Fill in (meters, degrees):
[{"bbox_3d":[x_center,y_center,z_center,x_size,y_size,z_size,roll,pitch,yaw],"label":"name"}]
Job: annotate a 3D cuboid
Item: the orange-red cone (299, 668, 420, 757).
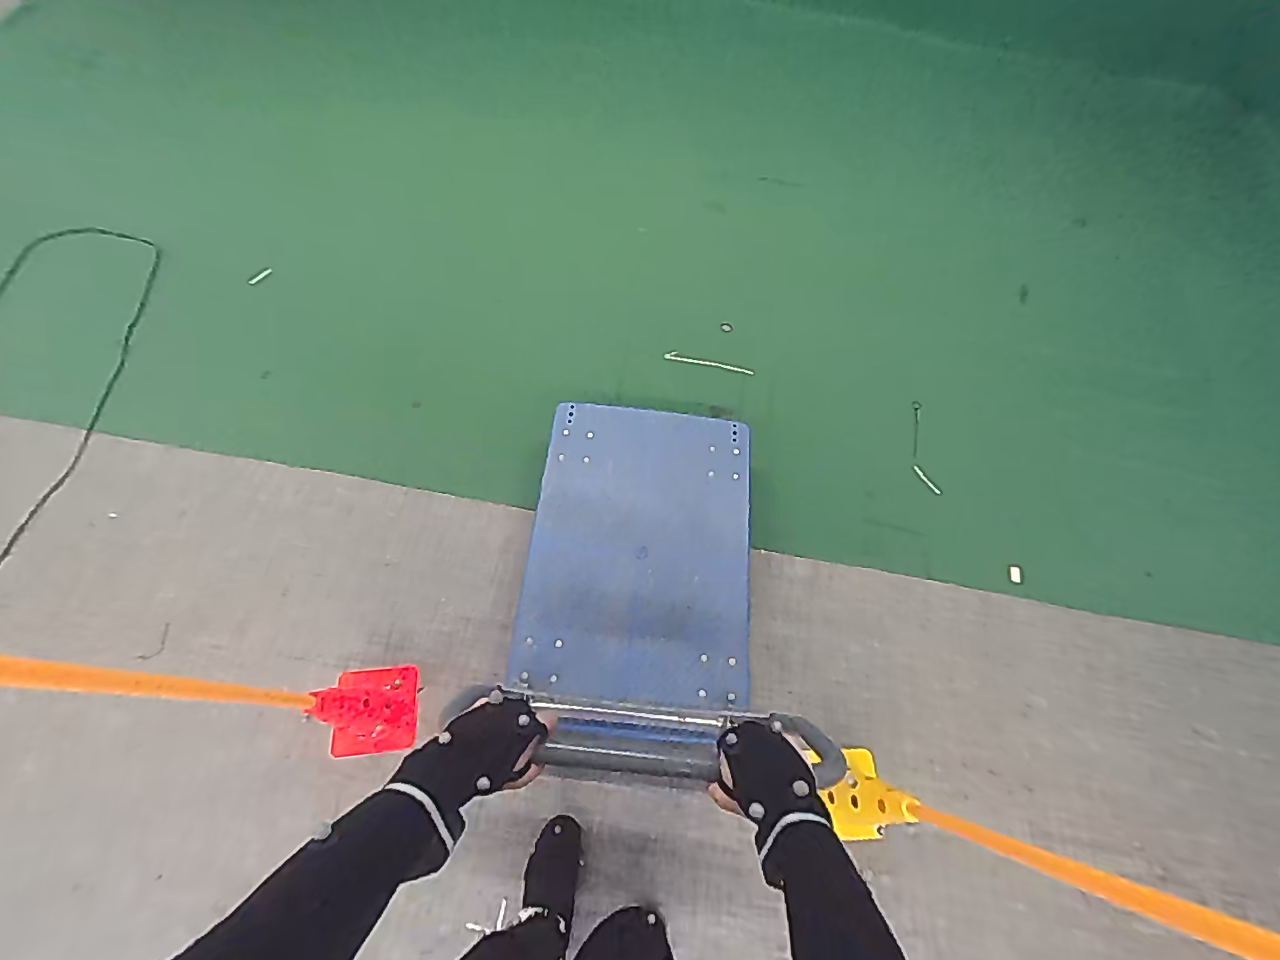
[{"bbox_3d":[-0.654,0.505,1.202,0.199,0.360,0.198,-4,65,-5],"label":"orange-red cone"}]
